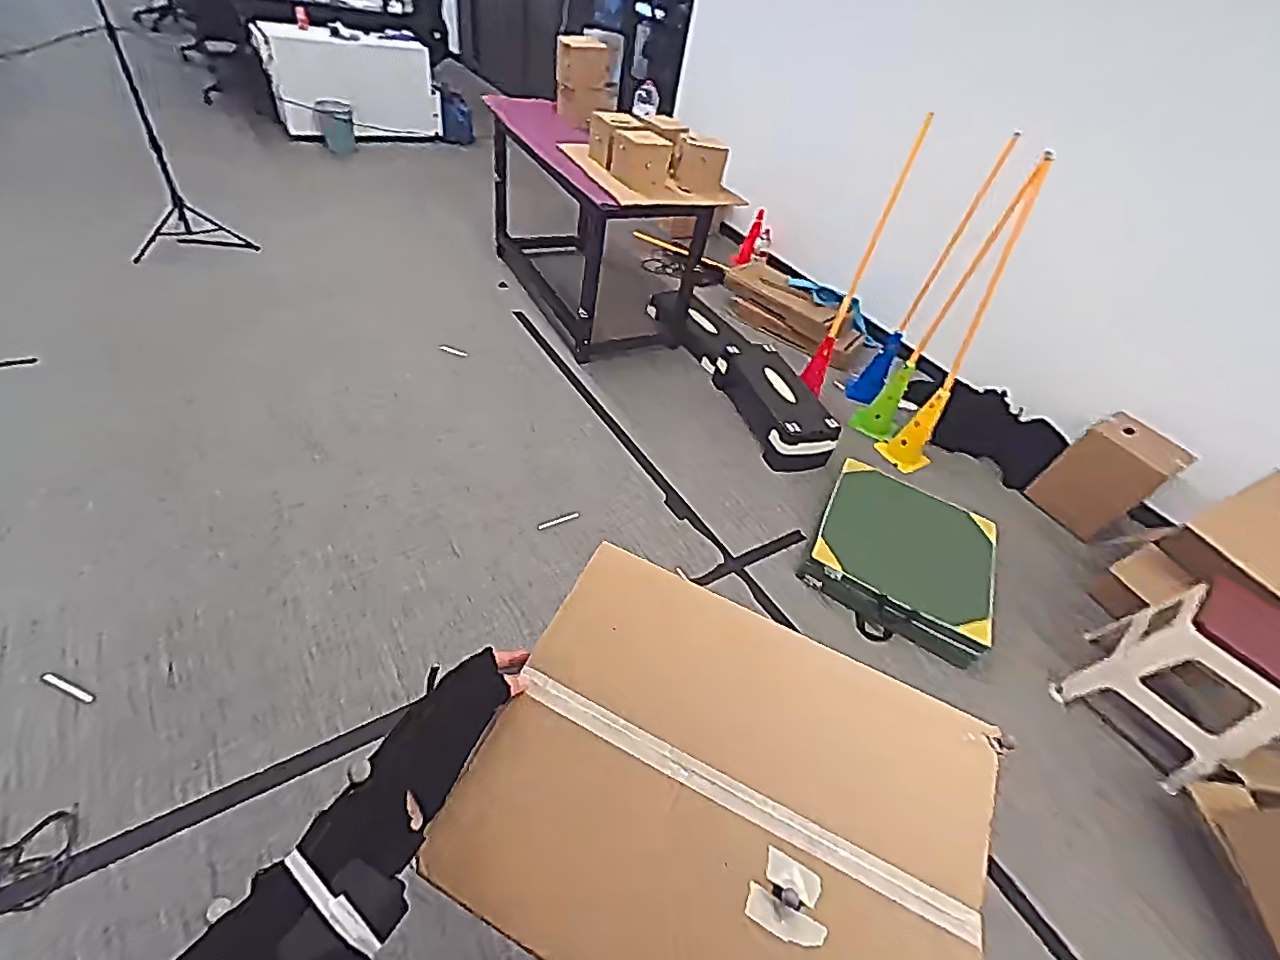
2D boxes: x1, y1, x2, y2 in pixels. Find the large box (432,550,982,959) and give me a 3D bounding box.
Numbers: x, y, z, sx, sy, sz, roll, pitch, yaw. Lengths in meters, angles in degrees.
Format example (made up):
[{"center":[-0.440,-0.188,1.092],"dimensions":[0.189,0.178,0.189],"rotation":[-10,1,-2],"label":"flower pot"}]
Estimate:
[{"center":[0.066,0.342,0.586],"dimensions":[0.408,0.320,0.320],"rotation":[24,58,12],"label":"large box"}]
